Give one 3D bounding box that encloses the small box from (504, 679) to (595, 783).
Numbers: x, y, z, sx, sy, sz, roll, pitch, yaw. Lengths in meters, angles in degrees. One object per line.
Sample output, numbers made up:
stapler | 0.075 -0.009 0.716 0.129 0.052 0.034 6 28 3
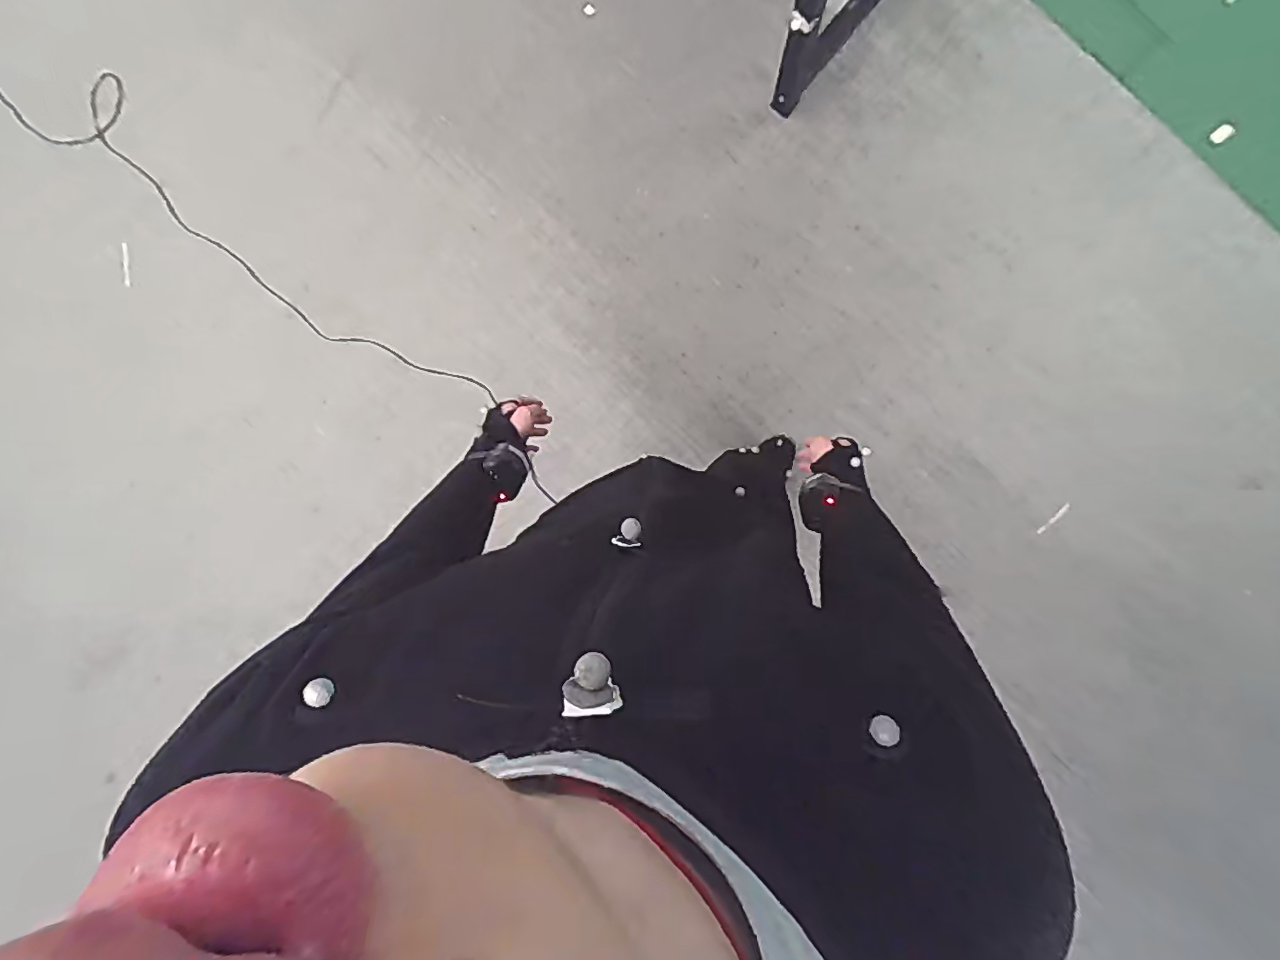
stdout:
small box | -0.250 0.711 1.549 0.168 0.176 0.179 44 96 2
